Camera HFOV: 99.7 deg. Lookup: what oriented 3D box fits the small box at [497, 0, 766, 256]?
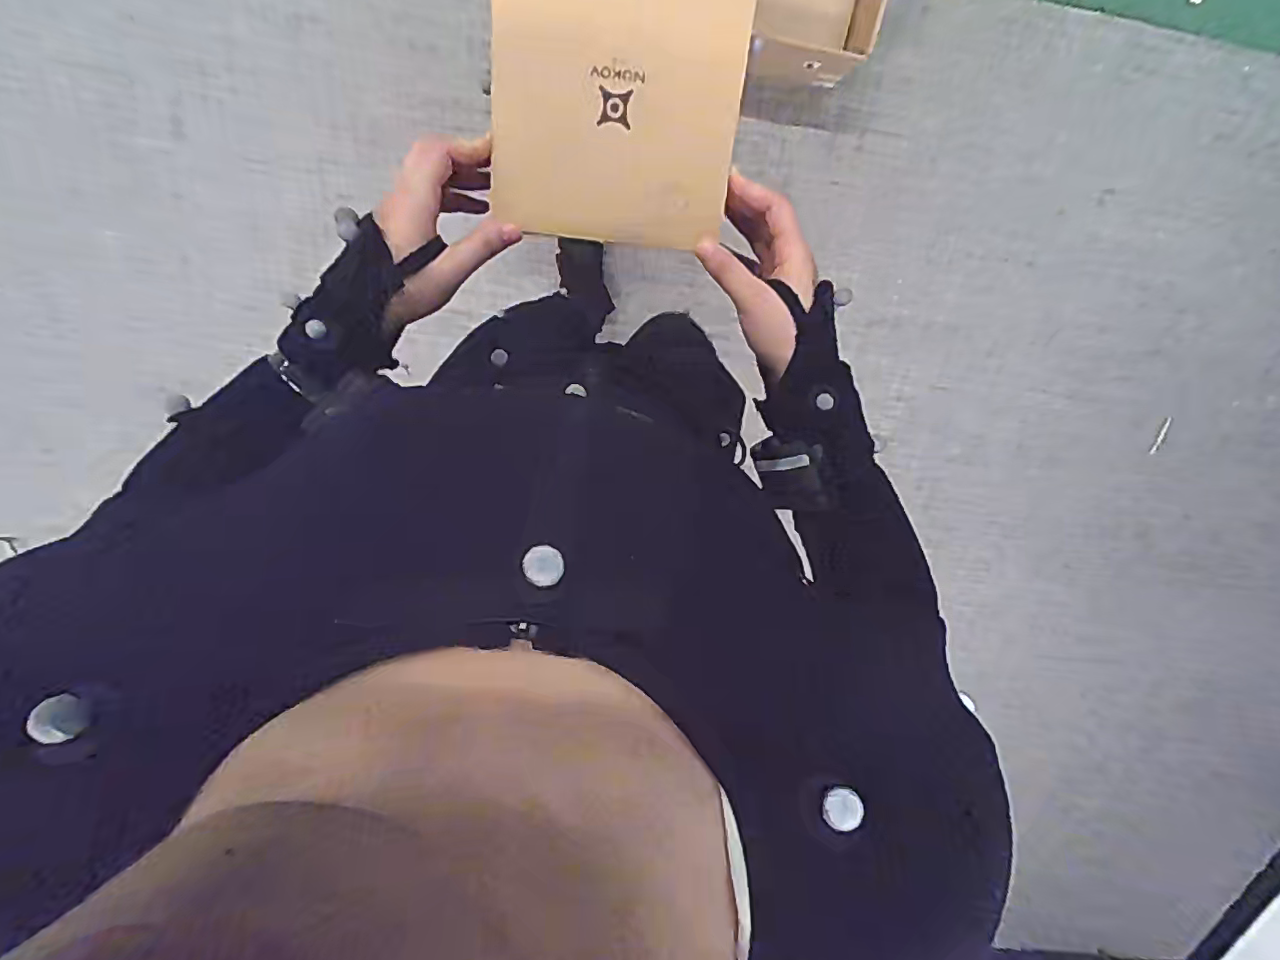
[{"bbox_3d":[-0.011,-0.281,0.424,0.168,0.176,0.179,6,114,-4],"label":"small box"}]
